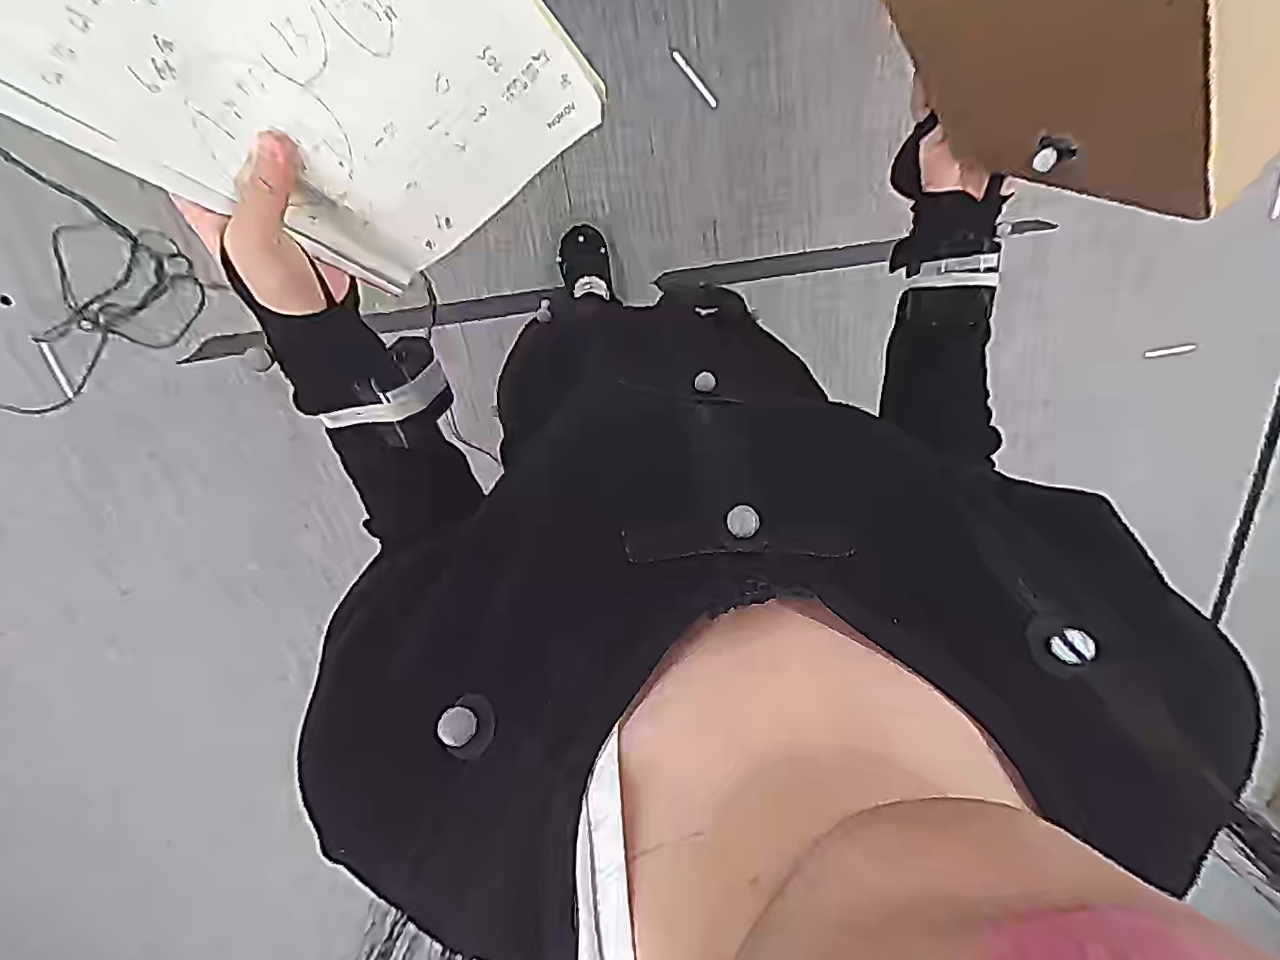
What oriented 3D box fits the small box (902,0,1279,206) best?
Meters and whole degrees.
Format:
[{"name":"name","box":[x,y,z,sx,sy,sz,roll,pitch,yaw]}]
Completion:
[{"name":"small box","box":[0.257,-0.275,0.258,0.179,0.176,0.168,23,114,-40]}]
